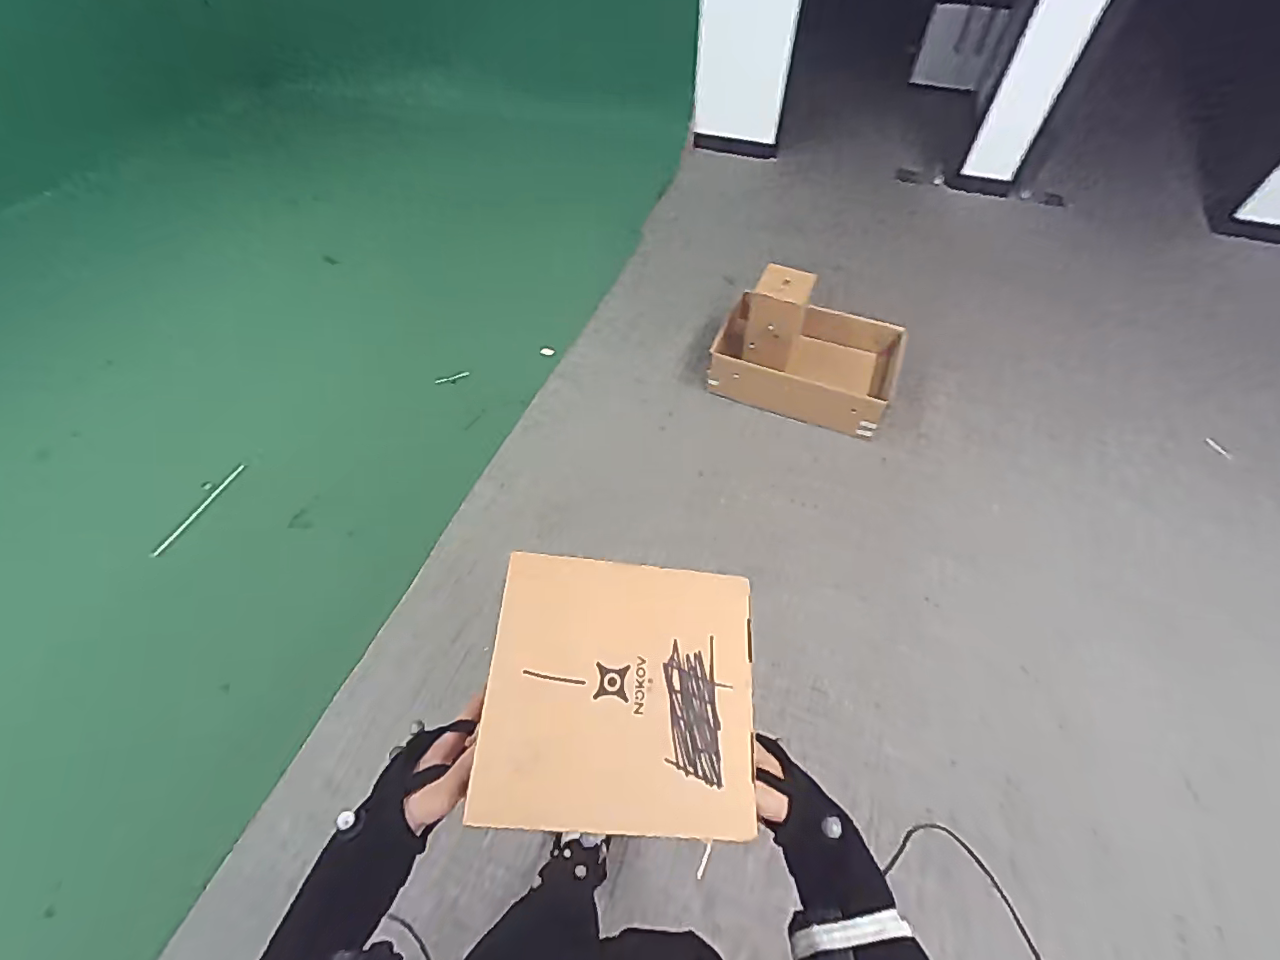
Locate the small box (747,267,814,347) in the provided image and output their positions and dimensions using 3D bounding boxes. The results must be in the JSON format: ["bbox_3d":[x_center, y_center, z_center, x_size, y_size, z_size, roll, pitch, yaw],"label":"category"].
[{"bbox_3d":[0.472,-0.587,1.839,0.168,0.176,0.179,20,58,15],"label":"small box"}]

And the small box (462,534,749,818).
[{"bbox_3d":[-0.025,0.158,0.430,0.179,0.176,0.168,8,62,-6],"label":"small box"}]
